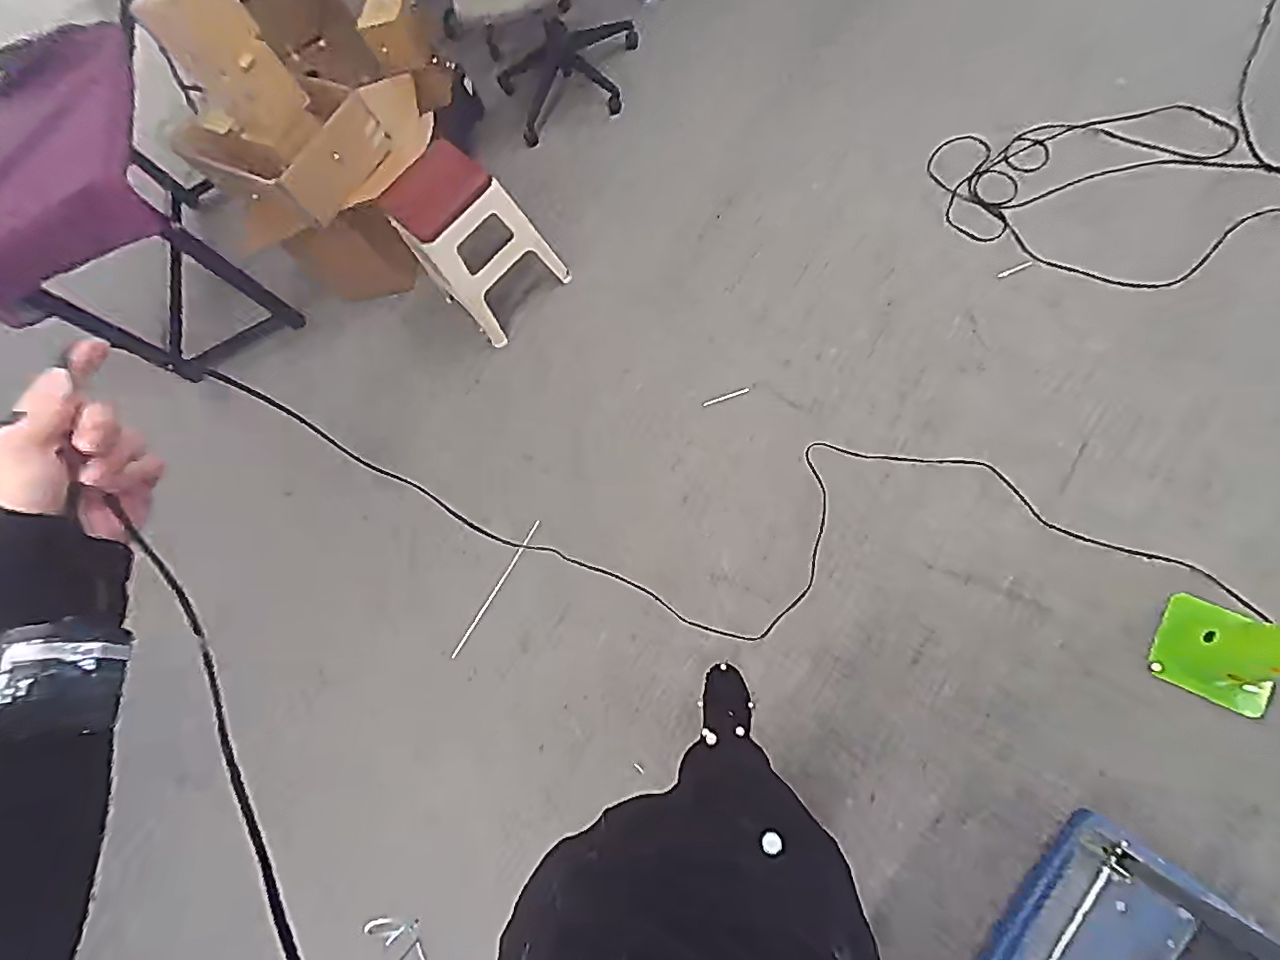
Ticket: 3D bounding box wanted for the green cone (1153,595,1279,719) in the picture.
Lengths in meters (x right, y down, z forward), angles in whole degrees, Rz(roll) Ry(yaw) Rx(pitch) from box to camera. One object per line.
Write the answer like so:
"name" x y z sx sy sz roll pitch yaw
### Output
"green cone" 1.178 0.310 0.983 0.200 0.368 0.202 25 79 22
